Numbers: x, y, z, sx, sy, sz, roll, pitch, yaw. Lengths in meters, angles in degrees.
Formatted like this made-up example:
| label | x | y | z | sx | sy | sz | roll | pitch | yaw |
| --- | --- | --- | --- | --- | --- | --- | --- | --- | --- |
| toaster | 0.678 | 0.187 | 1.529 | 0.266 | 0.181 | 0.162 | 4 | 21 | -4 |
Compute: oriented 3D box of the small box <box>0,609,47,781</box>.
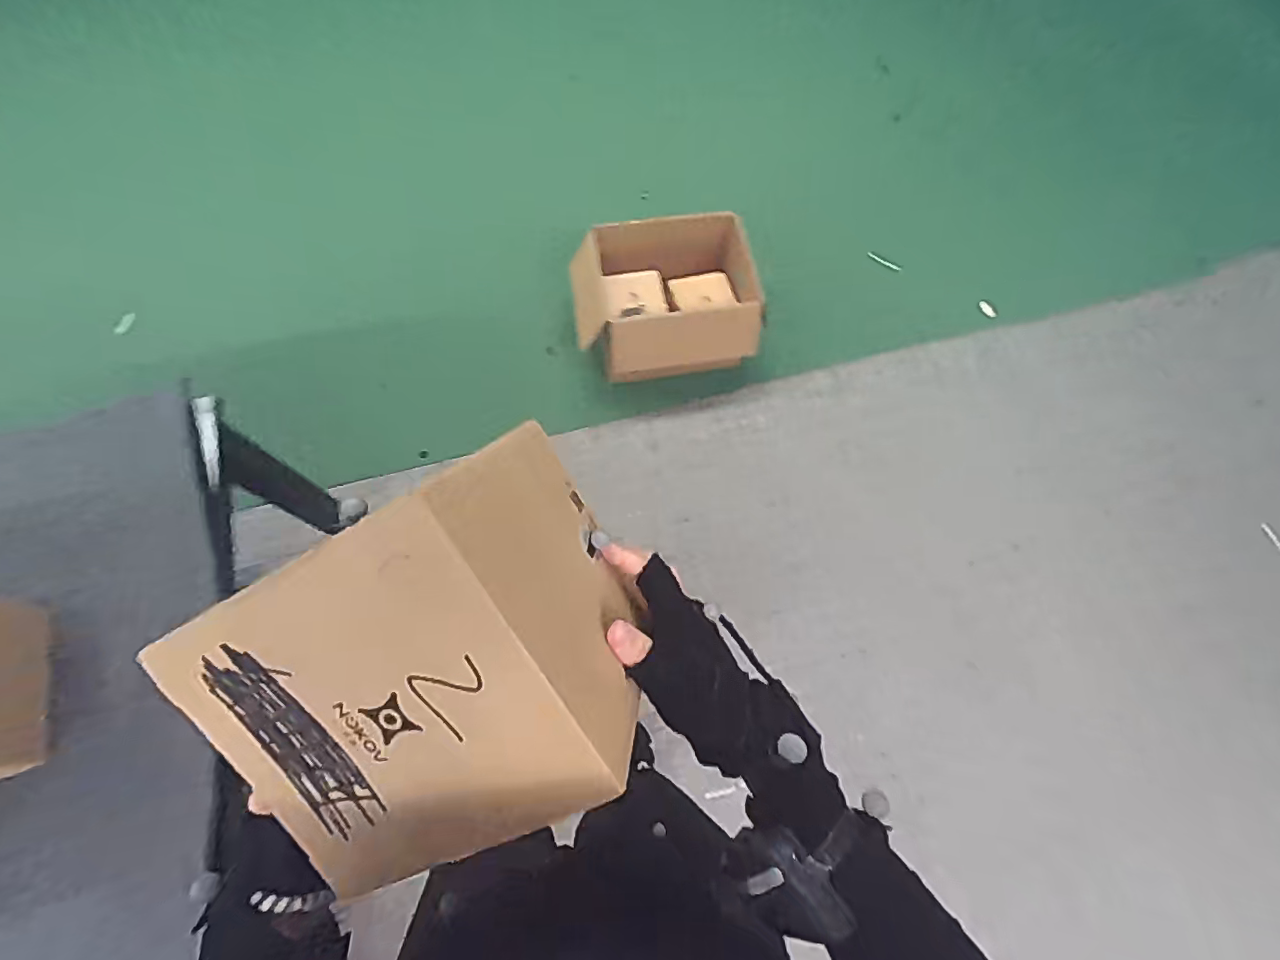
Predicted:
| label | x | y | z | sx | sy | sz | roll | pitch | yaw |
| --- | --- | --- | --- | --- | --- | --- | --- | --- | --- |
| small box | -0.736 | 0.221 | 0.517 | 0.168 | 0.176 | 0.179 | -17 | 71 | -9 |
